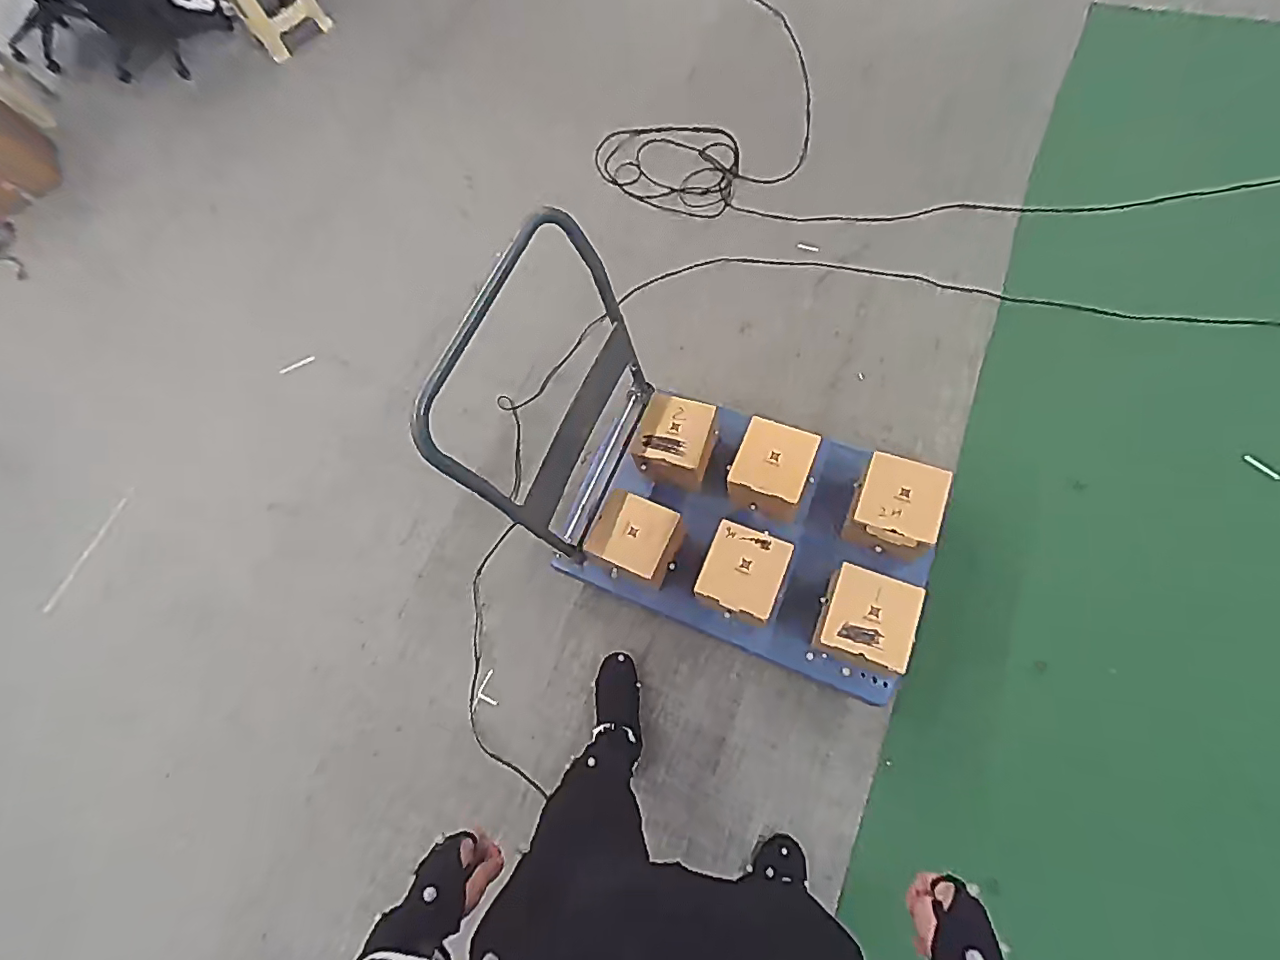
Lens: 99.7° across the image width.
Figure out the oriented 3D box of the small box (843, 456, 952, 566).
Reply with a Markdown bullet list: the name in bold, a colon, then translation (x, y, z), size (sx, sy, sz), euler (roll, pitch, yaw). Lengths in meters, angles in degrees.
- **small box**: translation (0.576, 0.075, 1.230), size (0.168, 0.176, 0.179), euler (19, 73, 17)

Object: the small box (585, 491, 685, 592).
- **small box**: translation (-0.005, 0.154, 1.298), size (0.179, 0.176, 0.168), euler (23, 75, 15)

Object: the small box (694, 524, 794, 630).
- **small box**: translation (0.235, 0.226, 1.228), size (0.168, 0.176, 0.179), euler (21, 74, 15)

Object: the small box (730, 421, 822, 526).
- **small box**: translation (0.322, -0.011, 1.309), size (0.168, 0.176, 0.179), euler (20, 75, 16)

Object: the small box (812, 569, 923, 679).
- **small box**: translation (0.481, 0.317, 1.170), size (0.168, 0.176, 0.179), euler (19, 73, 15)
